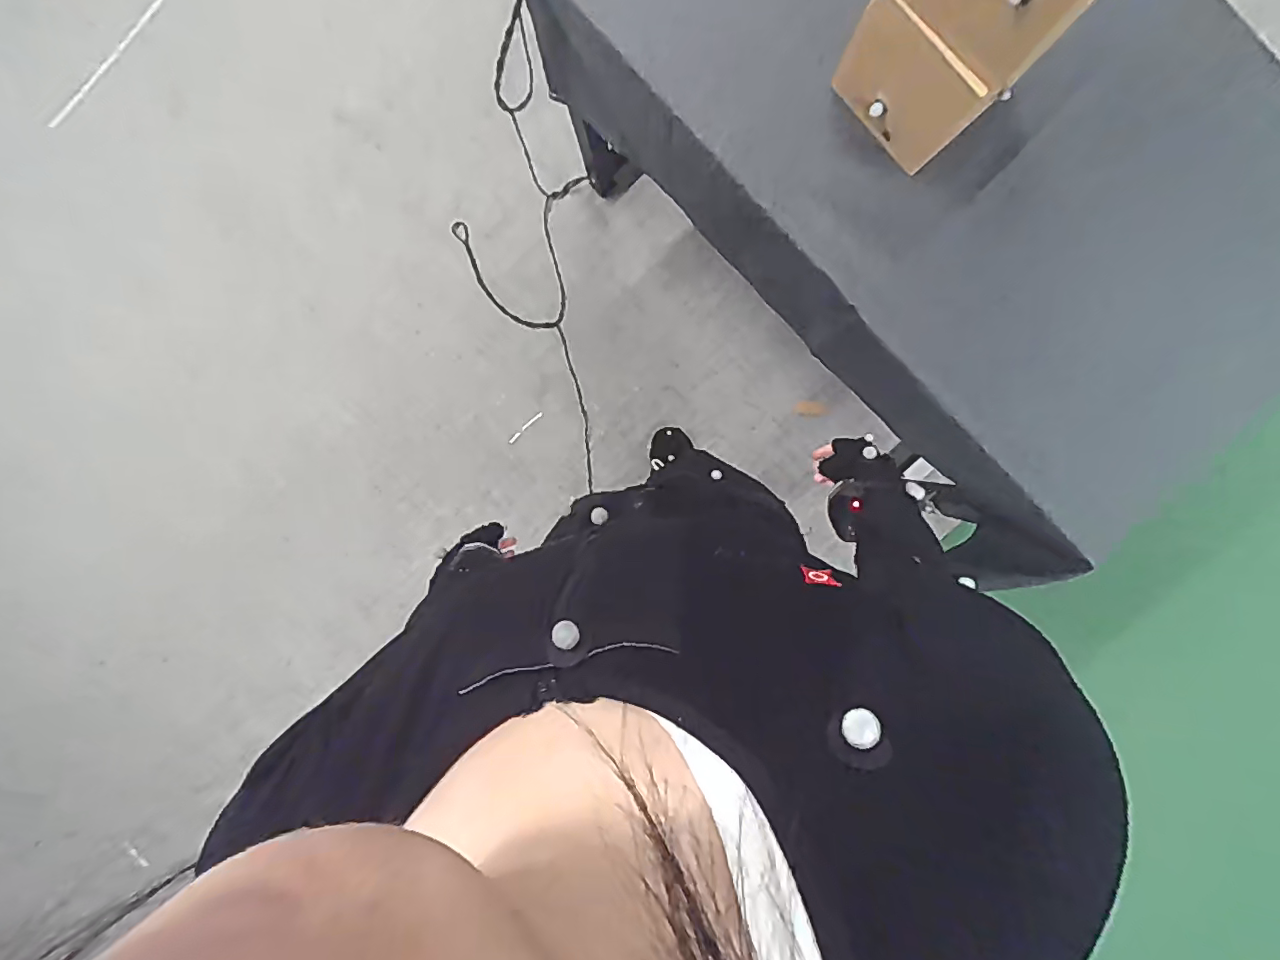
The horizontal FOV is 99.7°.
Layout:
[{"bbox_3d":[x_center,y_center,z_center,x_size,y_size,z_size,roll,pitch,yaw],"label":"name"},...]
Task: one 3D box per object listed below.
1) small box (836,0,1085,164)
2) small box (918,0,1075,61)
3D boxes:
[{"bbox_3d":[0.365,-0.526,0.633,0.179,0.176,0.168,-42,90,4],"label":"small box"},{"bbox_3d":[0.358,-0.522,0.470,0.168,0.176,0.179,-45,90,3],"label":"small box"}]
